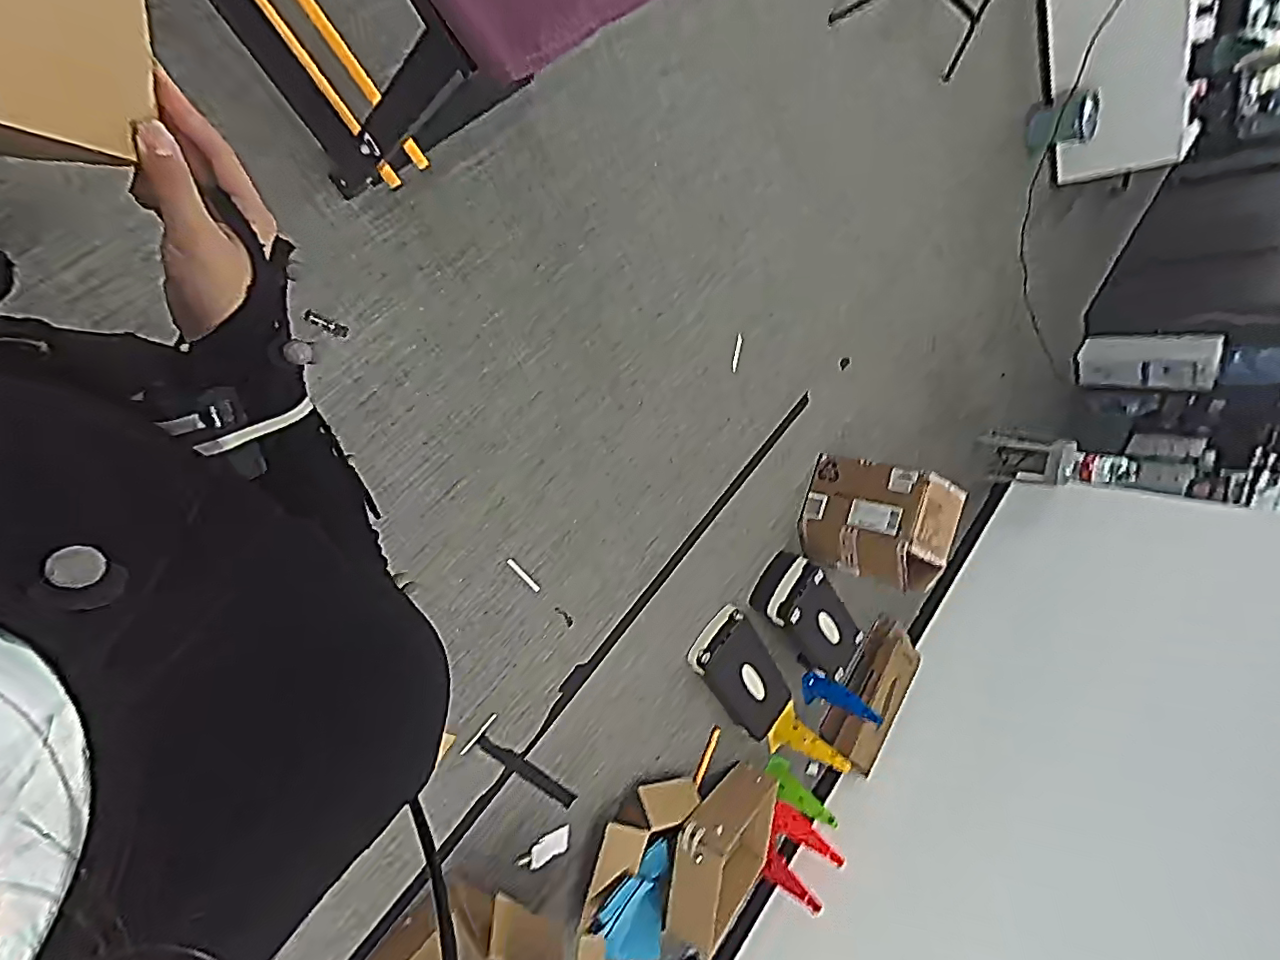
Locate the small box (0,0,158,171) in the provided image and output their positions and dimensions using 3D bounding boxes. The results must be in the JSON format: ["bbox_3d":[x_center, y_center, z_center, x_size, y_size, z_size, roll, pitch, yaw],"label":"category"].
[{"bbox_3d":[-0.329,-0.233,0.189,0.179,0.168,0.176,8,108,-1],"label":"small box"}]
